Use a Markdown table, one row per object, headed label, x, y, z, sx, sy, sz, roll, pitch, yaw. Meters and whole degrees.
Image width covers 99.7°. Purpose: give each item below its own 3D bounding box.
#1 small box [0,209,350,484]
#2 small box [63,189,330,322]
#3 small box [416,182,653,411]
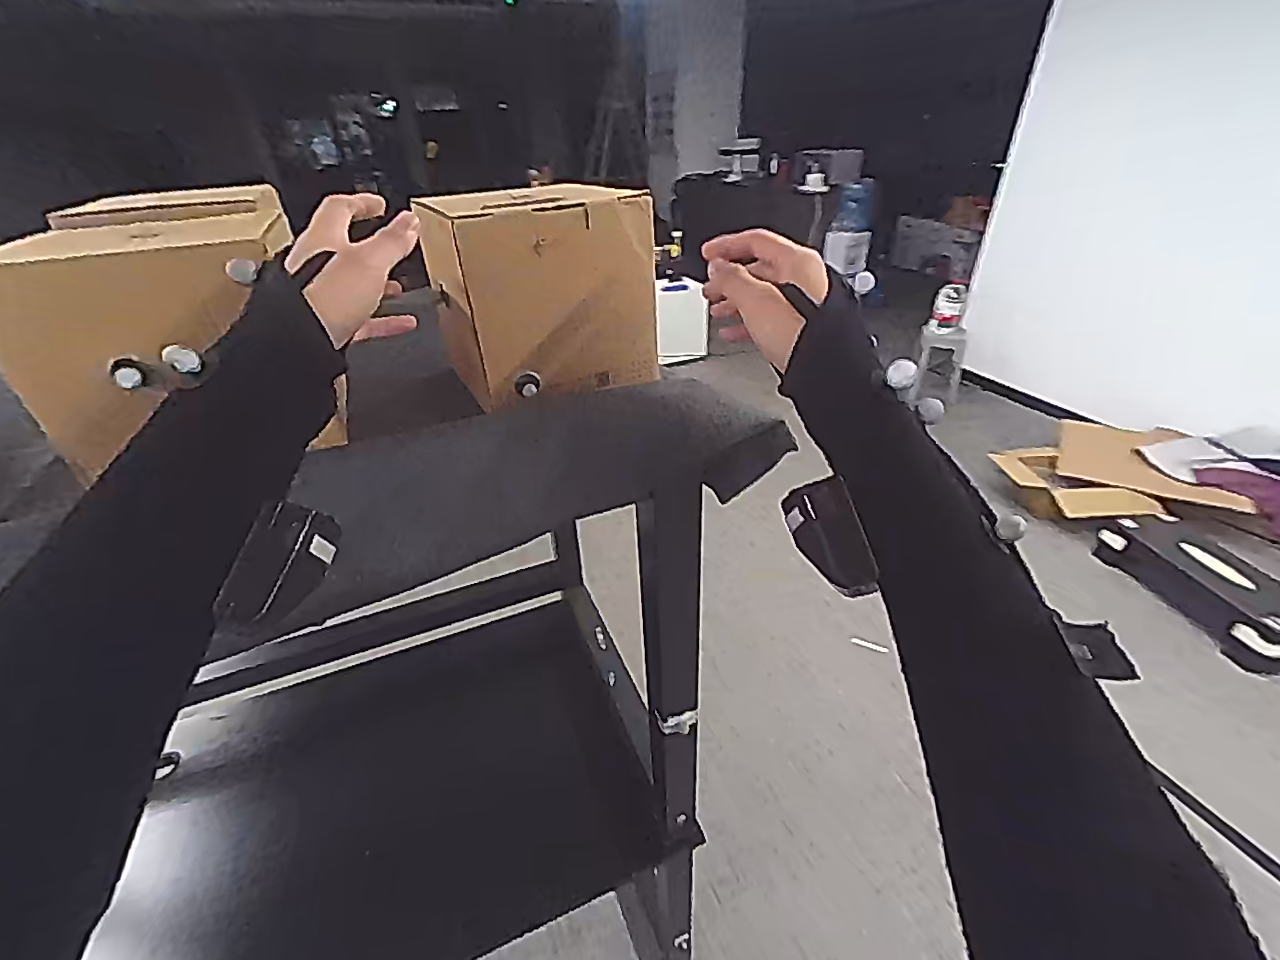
| label | x | y | z | sx | sy | sz | roll | pitch | yaw |
| --- | --- | --- | --- | --- | --- | --- | --- | --- | --- |
| small box | -0.352 | -0.112 | 0.442 | 0.168 | 0.176 | 0.179 | -16 | 35 | -19 |
| small box | -0.503 | -0.243 | 0.650 | 0.179 | 0.176 | 0.168 | -15 | 36 | -18 |
| small box | -0.097 | -0.179 | 0.518 | 0.168 | 0.176 | 0.179 | -19 | 35 | -22 |
